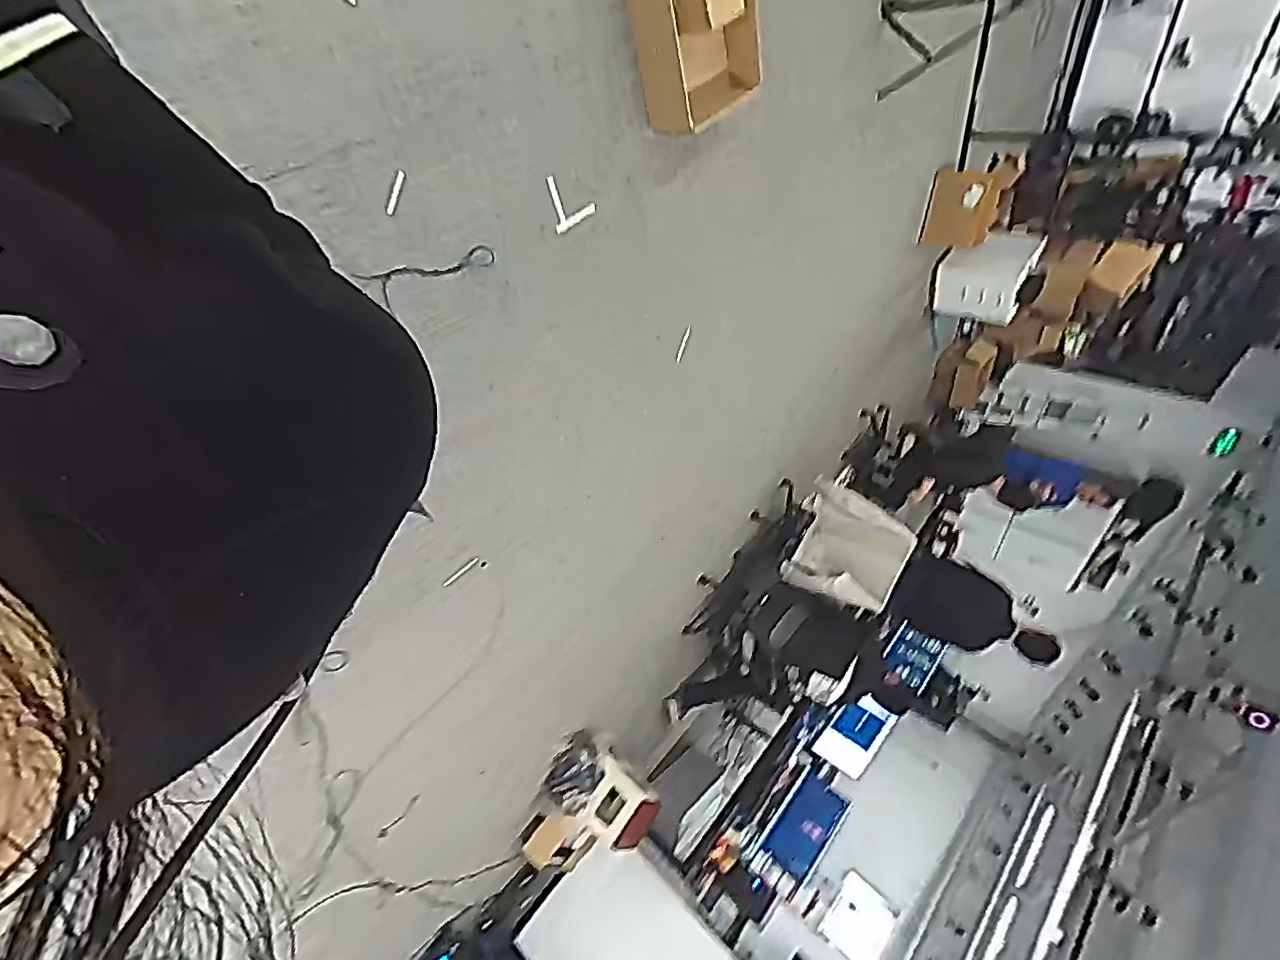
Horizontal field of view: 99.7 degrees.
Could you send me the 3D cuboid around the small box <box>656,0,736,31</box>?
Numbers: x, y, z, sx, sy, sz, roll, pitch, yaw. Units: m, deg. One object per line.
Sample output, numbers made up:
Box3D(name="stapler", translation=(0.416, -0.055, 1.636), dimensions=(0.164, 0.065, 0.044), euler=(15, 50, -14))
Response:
Box3D(name="small box", translation=(0.160, -1.473, 1.608), dimensions=(0.179, 0.176, 0.168), euler=(-47, 141, -21))
